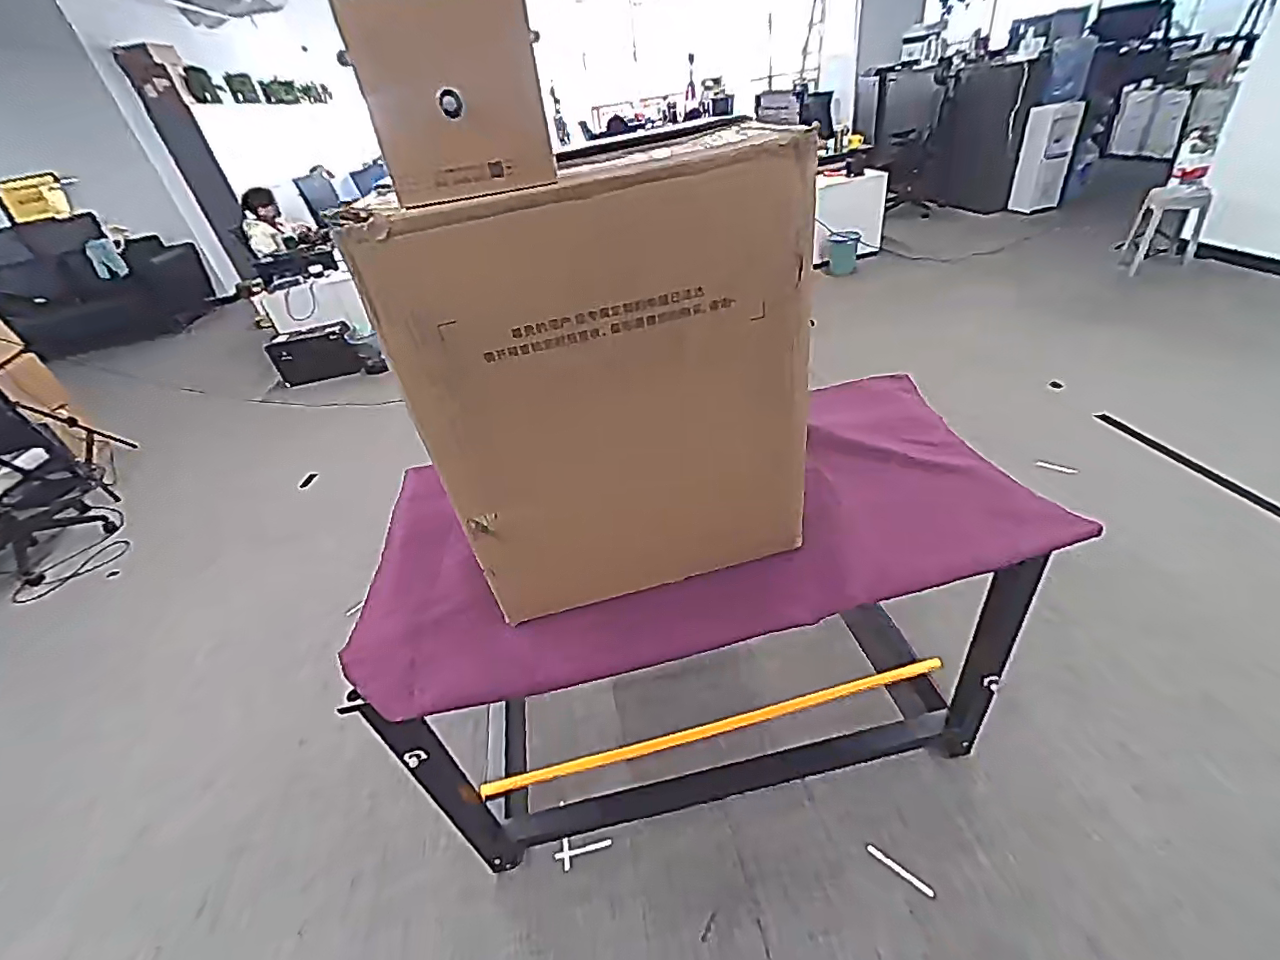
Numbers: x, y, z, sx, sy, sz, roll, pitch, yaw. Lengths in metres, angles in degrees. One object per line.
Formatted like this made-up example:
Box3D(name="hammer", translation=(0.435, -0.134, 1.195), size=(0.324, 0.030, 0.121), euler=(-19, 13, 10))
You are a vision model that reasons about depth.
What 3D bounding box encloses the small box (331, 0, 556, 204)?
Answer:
Box3D(name="small box", translation=(-0.191, -0.403, 0.575), size=(0.168, 0.176, 0.179), euler=(-13, 37, -7))
